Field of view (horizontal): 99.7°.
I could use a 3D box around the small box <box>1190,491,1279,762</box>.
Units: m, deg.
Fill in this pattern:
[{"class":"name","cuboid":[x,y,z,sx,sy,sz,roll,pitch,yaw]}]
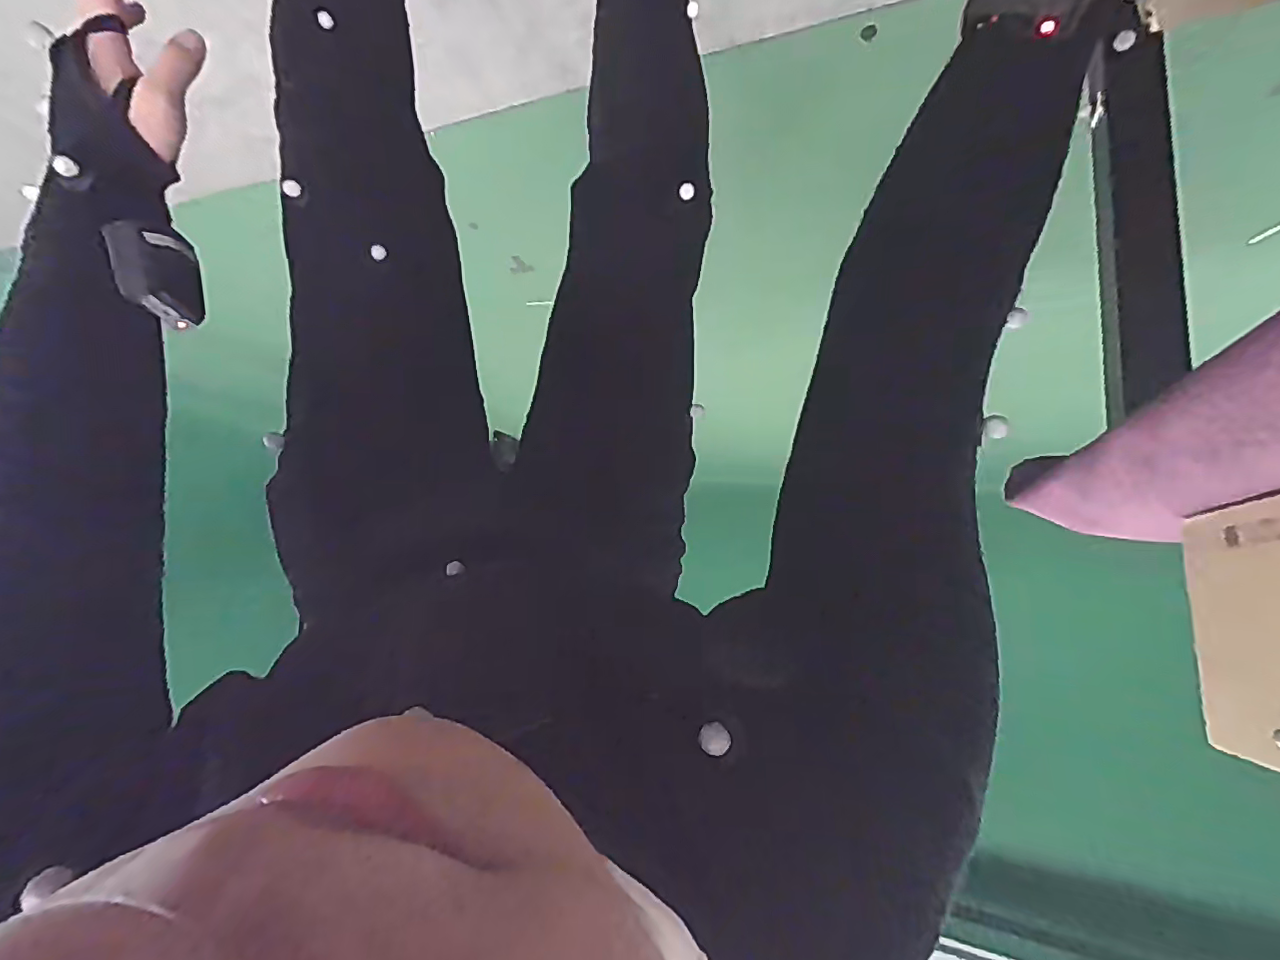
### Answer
[{"class":"small box","cuboid":[0.473,0.088,0.303,0.179,0.176,0.168,-1,166,21]}]
